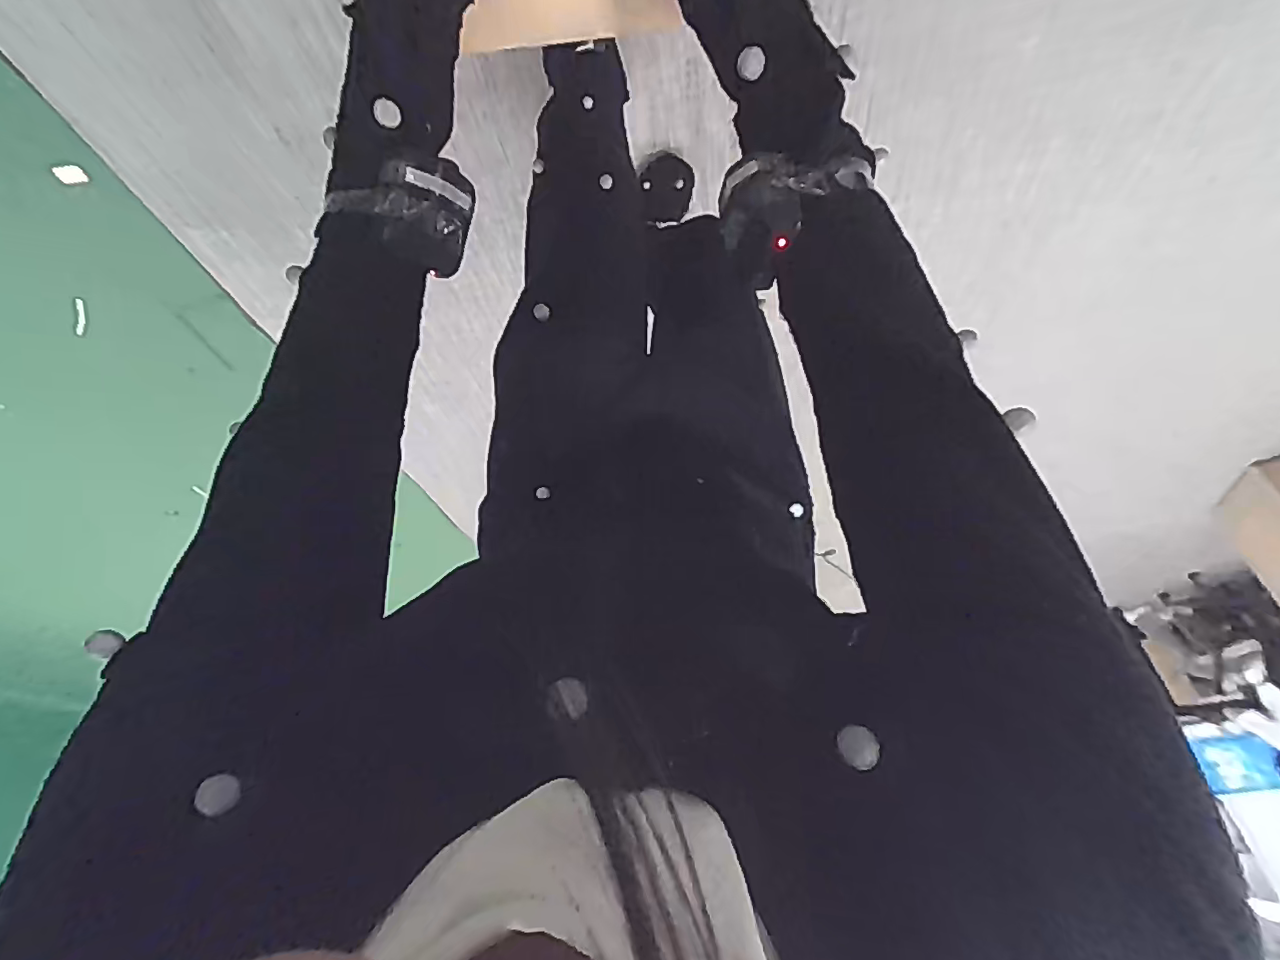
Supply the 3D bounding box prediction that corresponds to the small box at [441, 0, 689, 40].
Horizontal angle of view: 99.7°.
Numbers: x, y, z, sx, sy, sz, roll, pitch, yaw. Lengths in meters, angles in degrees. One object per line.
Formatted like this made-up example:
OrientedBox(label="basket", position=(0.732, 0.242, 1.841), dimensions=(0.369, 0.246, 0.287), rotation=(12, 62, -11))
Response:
OrientedBox(label="small box", position=(-0.063, -0.436, 0.368), dimensions=(0.179, 0.176, 0.168), rotation=(-8, 147, -5))
